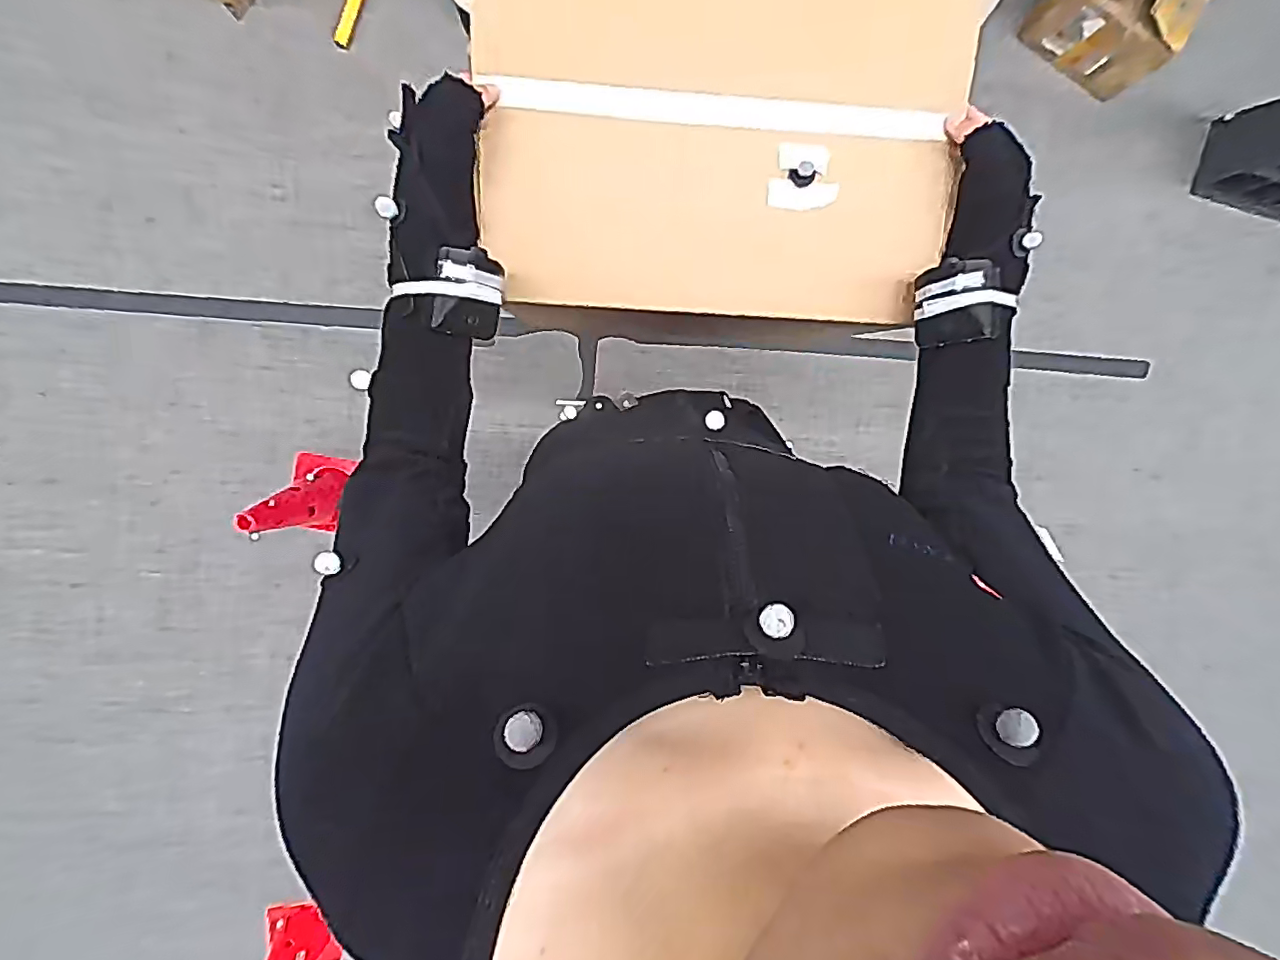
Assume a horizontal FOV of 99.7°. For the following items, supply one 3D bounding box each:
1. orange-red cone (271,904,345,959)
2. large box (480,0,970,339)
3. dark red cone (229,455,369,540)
[{"bbox_3d":[-0.950,1.344,1.397,0.198,0.360,0.199,1,98,-3],"label":"orange-red cone"},{"bbox_3d":[0.058,-0.330,0.594,0.408,0.320,0.320,2,102,-5],"label":"large box"},{"bbox_3d":[-0.789,0.065,1.225,0.201,0.394,0.202,9,97,-6],"label":"dark red cone"}]
